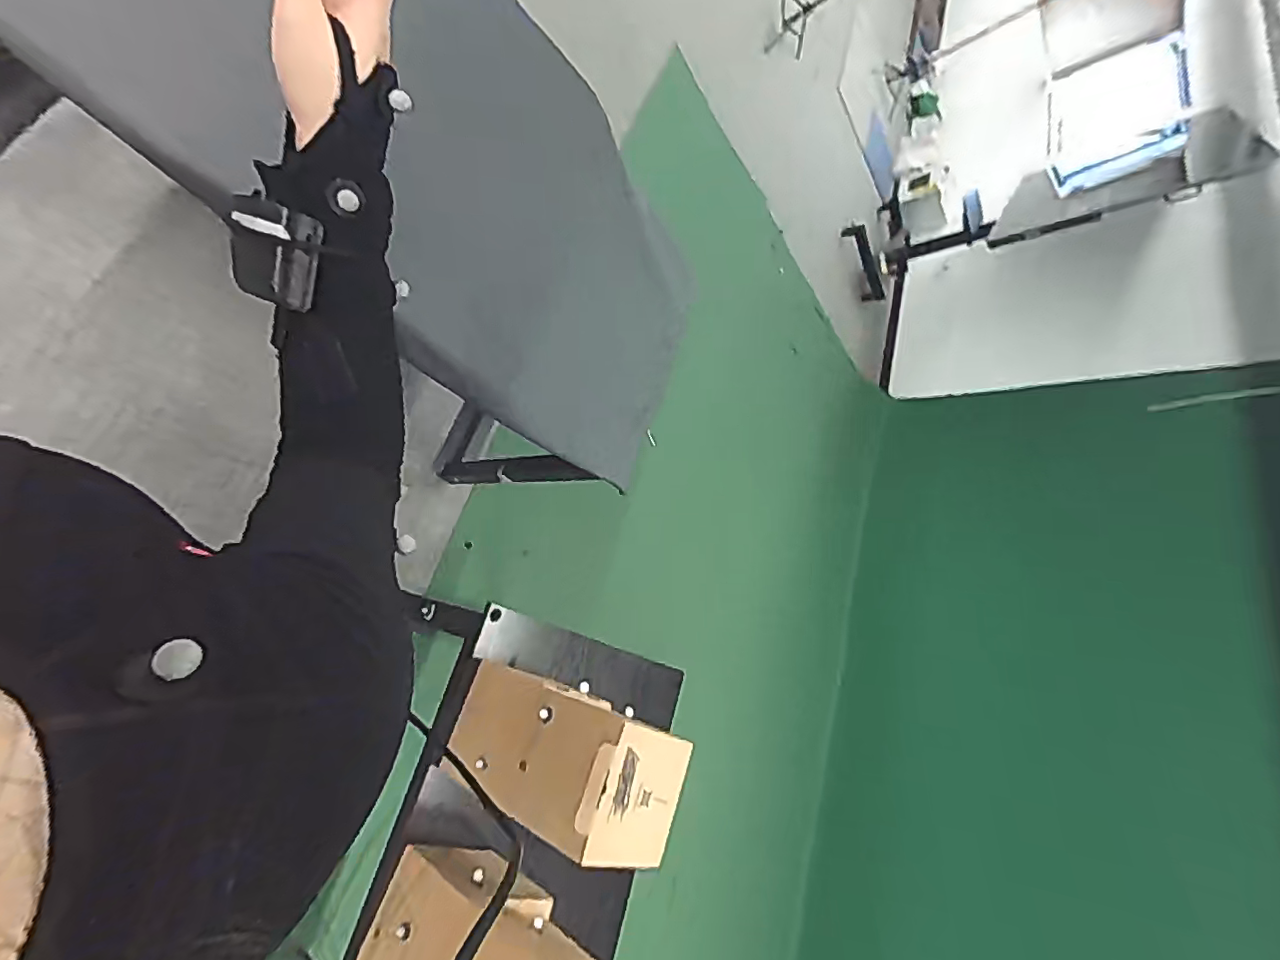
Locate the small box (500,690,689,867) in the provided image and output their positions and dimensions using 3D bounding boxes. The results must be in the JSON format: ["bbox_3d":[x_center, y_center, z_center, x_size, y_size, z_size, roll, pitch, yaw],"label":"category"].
[{"bbox_3d":[-0.065,0.414,0.766,0.179,0.176,0.168,41,62,-41],"label":"small box"}]

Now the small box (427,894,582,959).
[{"bbox_3d":[-0.170,0.652,0.651,0.168,0.176,0.179,50,55,-35],"label":"small box"}]

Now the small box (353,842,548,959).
[{"bbox_3d":[-0.273,0.650,0.779,0.179,0.176,0.168,41,61,-39],"label":"small box"}]
